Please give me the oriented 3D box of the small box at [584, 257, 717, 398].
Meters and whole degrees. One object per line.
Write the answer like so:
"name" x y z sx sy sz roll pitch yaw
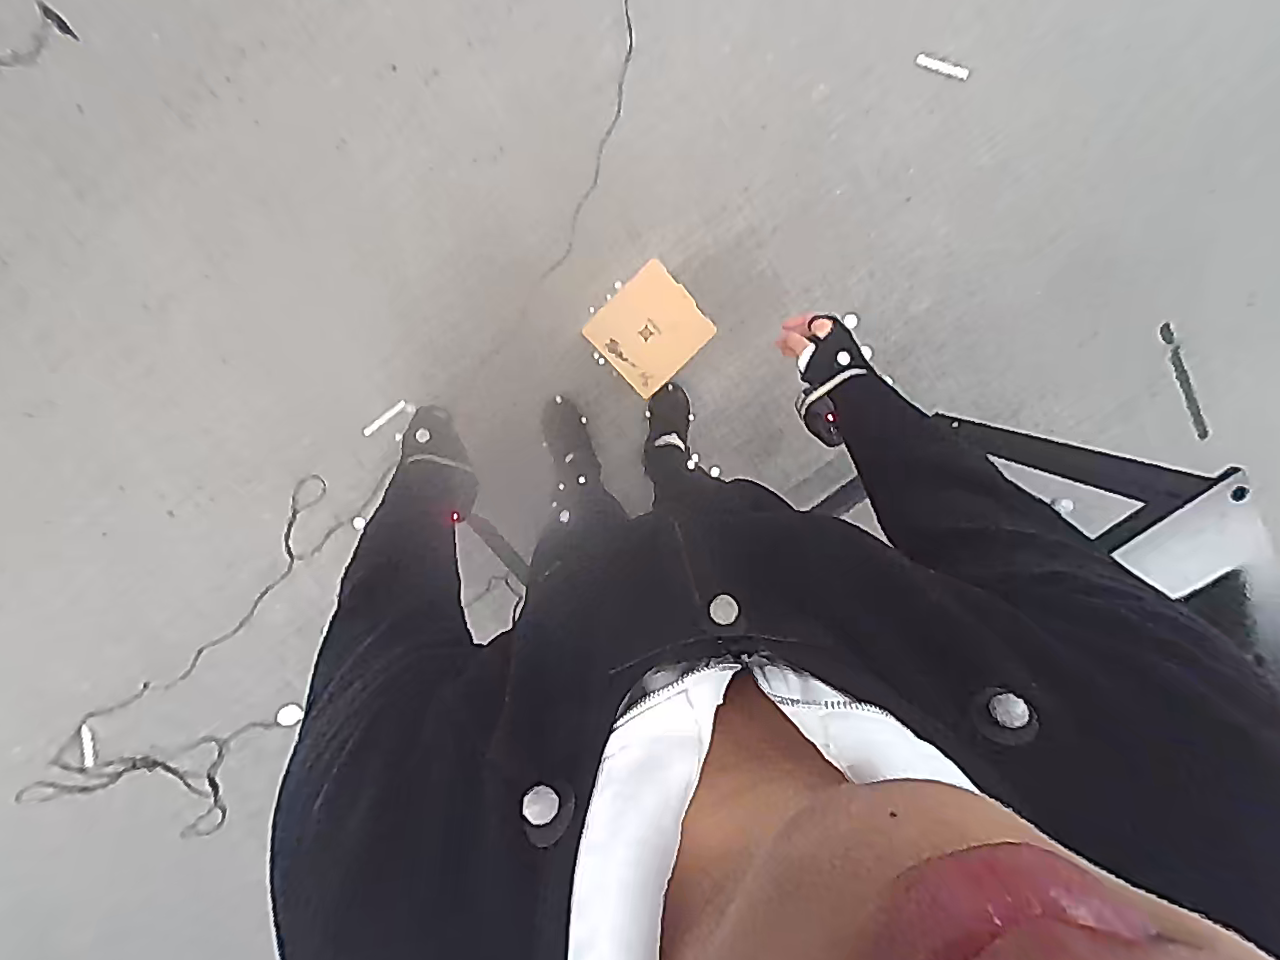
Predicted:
"small box" 0.009 -0.276 0.996 0.179 0.176 0.168 -44 104 5
